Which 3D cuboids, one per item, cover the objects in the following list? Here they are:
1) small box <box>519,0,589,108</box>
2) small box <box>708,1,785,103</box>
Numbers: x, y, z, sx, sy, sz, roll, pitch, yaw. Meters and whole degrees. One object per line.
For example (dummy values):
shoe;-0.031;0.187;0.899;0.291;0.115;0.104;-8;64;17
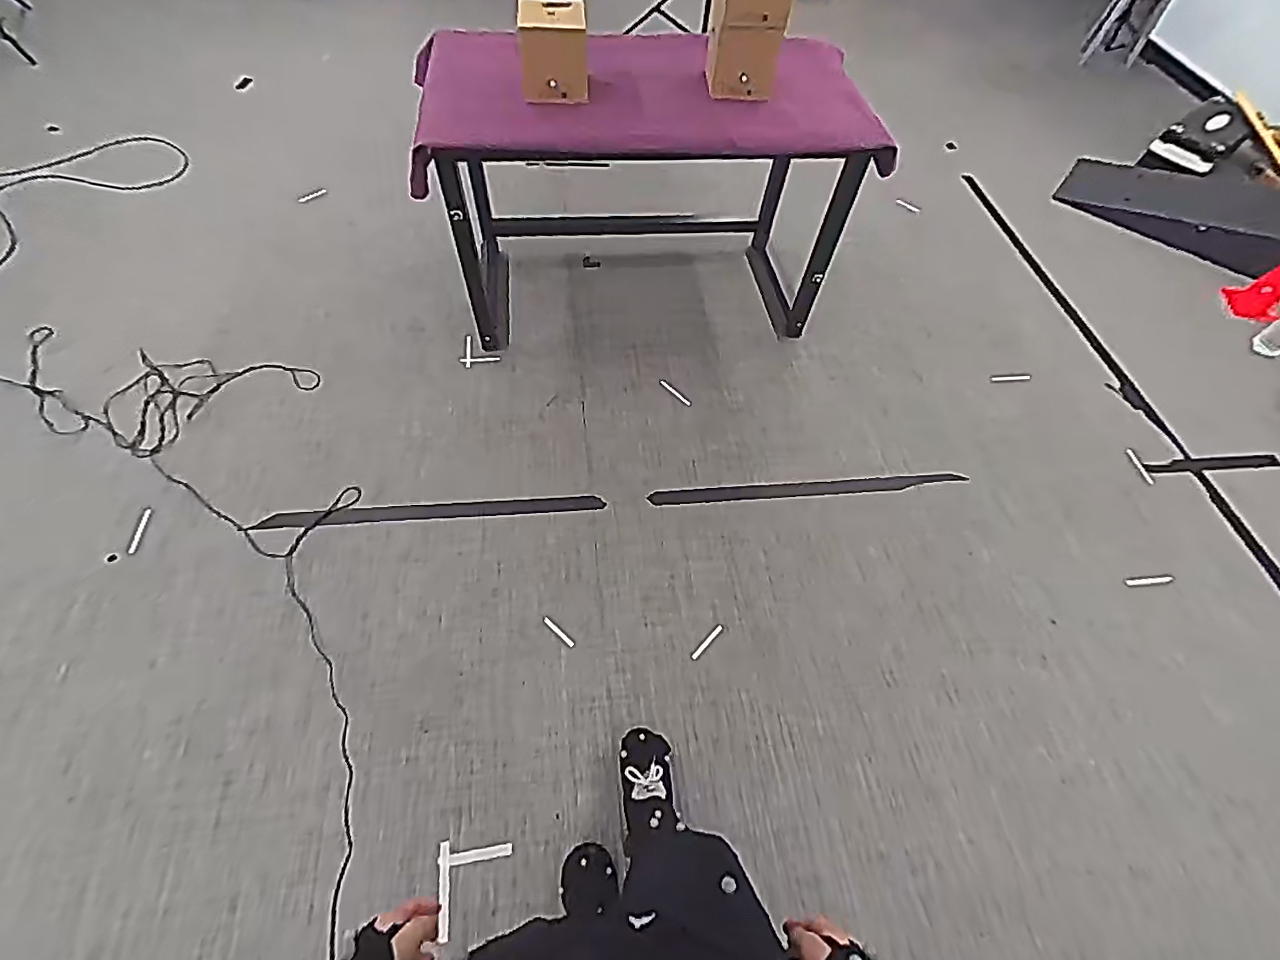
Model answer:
small box;-0.220;-1.104;1.404;0.168;0.176;0.179;-3;60;-5
small box;0.280;-1.161;1.469;0.168;0.176;0.179;0;59;-2
